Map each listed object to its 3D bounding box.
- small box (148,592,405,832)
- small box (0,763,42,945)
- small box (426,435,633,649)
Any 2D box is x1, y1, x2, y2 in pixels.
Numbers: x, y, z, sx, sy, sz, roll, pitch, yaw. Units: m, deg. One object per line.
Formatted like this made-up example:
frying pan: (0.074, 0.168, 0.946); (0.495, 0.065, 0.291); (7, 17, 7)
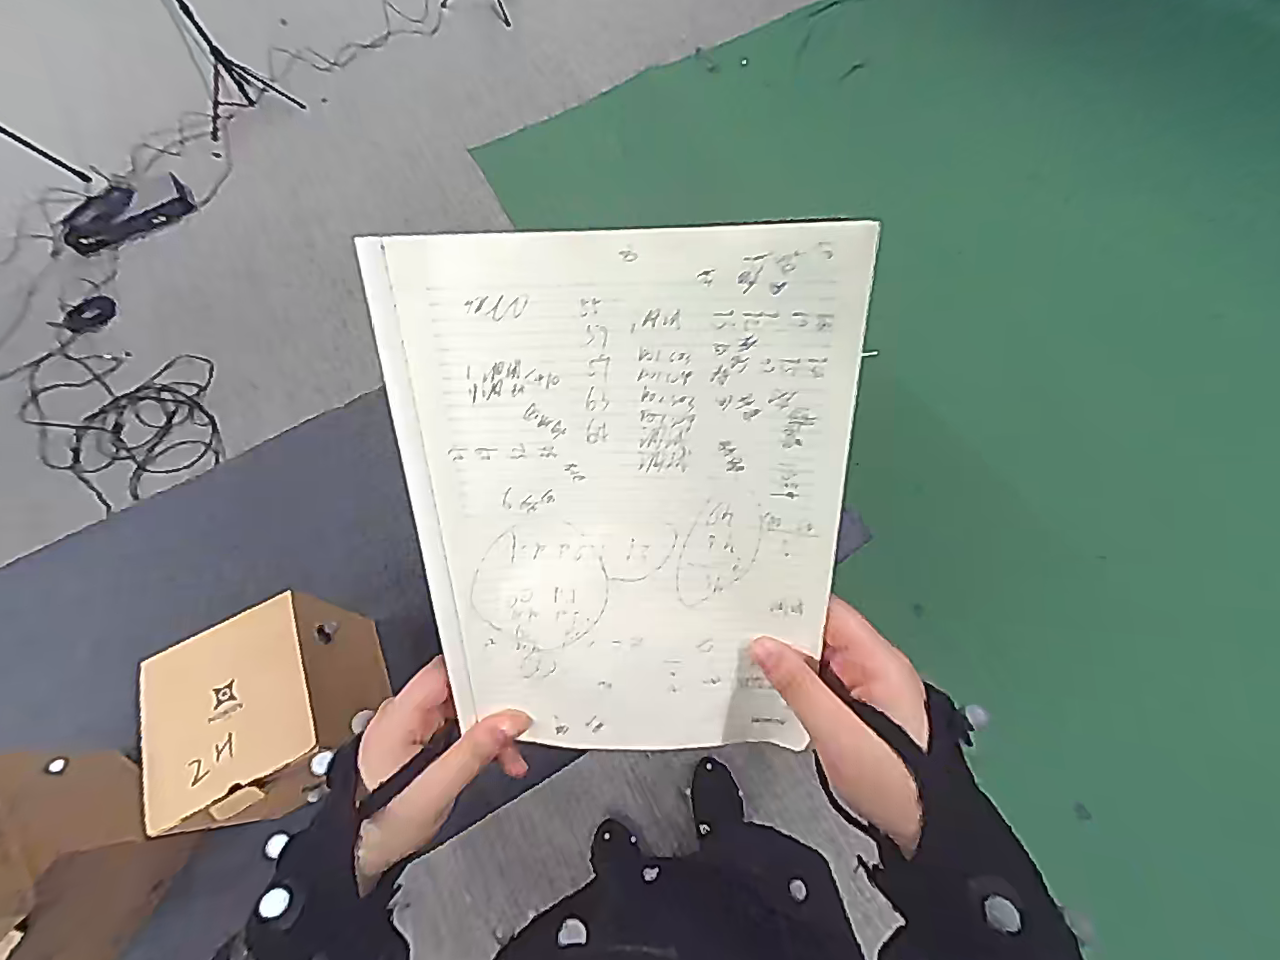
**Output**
small box: (-0.398, 0.258, 0.610); (0.168, 0.176, 0.179); (-27, 63, -6)
small box: (-0.647, 0.347, 0.416); (0.179, 0.176, 0.168); (-44, 67, -13)
small box: (-0.121, 0.083, 0.661); (0.179, 0.176, 0.168); (-31, 64, -7)
